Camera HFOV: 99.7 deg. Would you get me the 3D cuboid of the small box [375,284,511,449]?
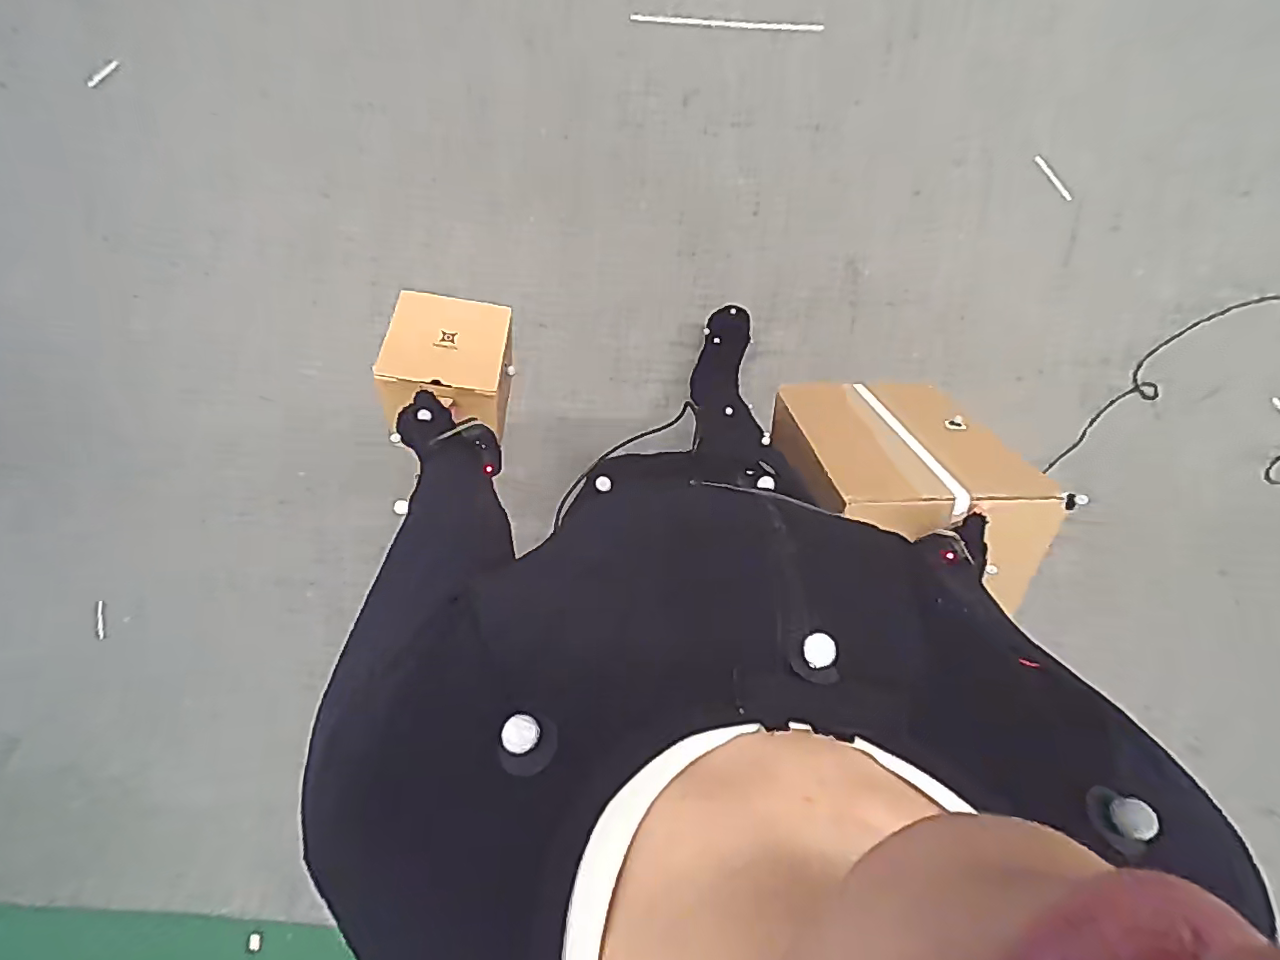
[{"bbox_3d":[-0.300,-0.173,0.858,0.168,0.176,0.179,6,60,-11],"label":"small box"}]
